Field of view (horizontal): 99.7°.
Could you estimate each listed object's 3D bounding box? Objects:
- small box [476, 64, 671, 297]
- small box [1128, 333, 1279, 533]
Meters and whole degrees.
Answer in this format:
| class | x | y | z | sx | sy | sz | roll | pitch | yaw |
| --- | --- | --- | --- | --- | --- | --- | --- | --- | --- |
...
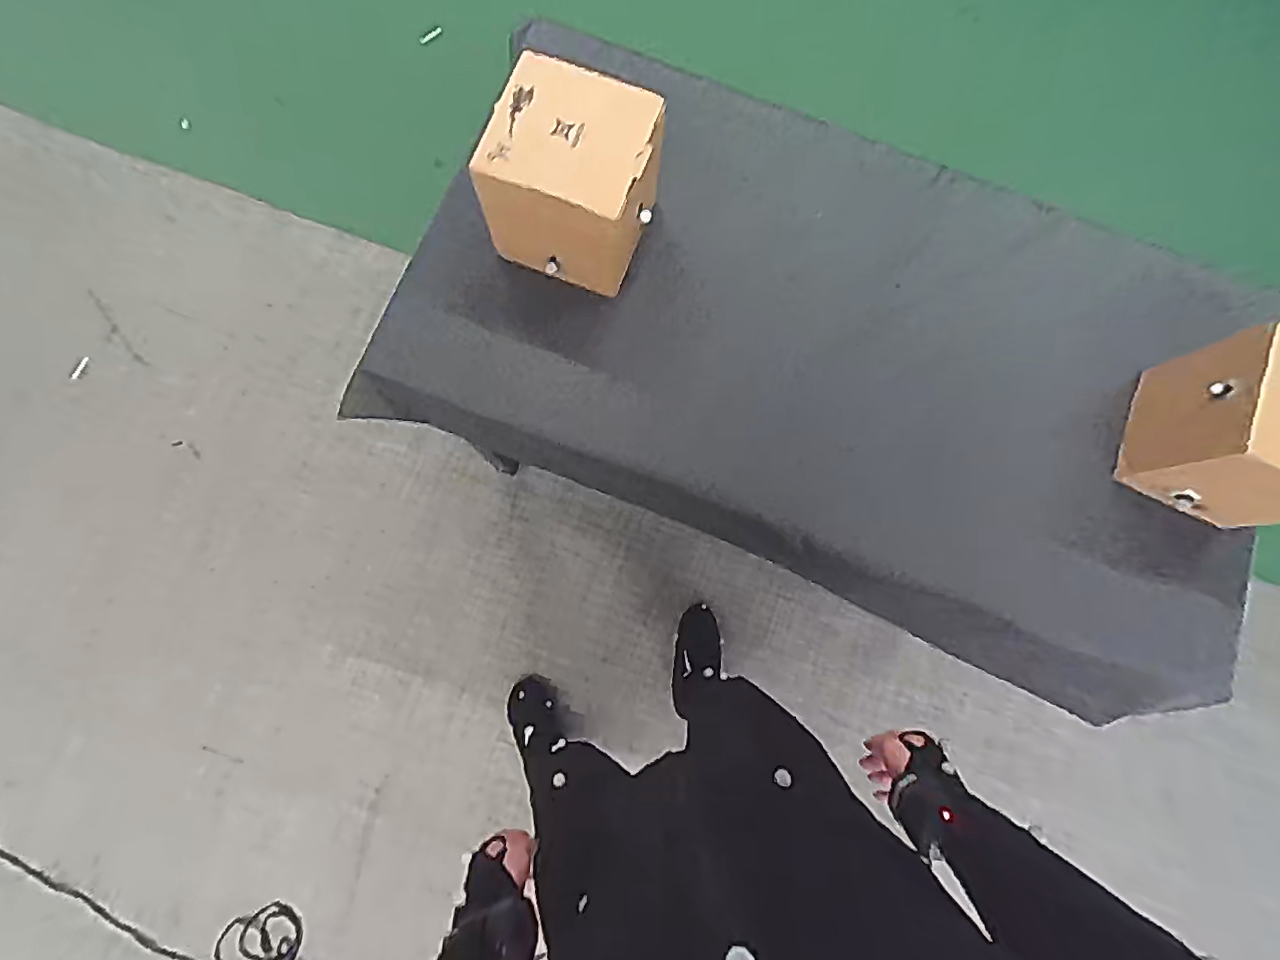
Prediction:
| class | x | y | z | sx | sy | sz | roll | pitch | yaw |
| --- | --- | --- | --- | --- | --- | --- | --- | --- | --- |
| small box | -0.077 | -0.359 | 0.684 | 0.179 | 0.176 | 0.168 | 20 | 79 | 0 |
| small box | 0.755 | -0.051 | 0.656 | 0.168 | 0.176 | 0.179 | 26 | 80 | 4 |
